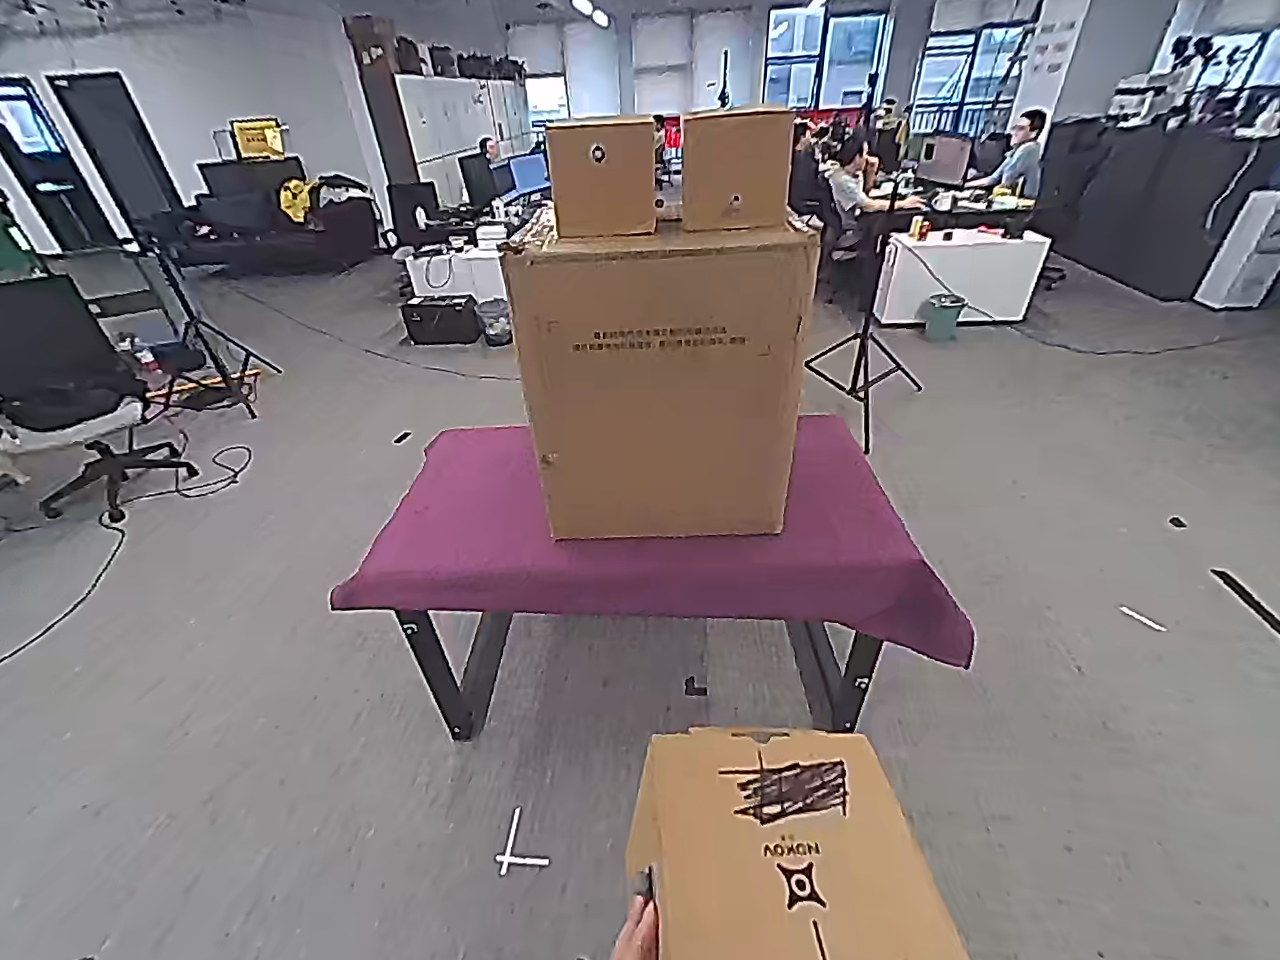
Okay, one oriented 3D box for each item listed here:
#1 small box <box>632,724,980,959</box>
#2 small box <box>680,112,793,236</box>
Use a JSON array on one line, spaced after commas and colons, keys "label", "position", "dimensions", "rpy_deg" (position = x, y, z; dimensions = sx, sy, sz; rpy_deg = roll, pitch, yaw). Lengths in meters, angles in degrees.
[{"label": "small box", "position": [0.088, 0.294, 0.366], "dimensions": [0.168, 0.176, 0.179], "rpy_deg": [2, 30, -7]}, {"label": "small box", "position": [0.161, -0.543, 0.960], "dimensions": [0.179, 0.176, 0.168], "rpy_deg": [-2, 36, 4]}]
